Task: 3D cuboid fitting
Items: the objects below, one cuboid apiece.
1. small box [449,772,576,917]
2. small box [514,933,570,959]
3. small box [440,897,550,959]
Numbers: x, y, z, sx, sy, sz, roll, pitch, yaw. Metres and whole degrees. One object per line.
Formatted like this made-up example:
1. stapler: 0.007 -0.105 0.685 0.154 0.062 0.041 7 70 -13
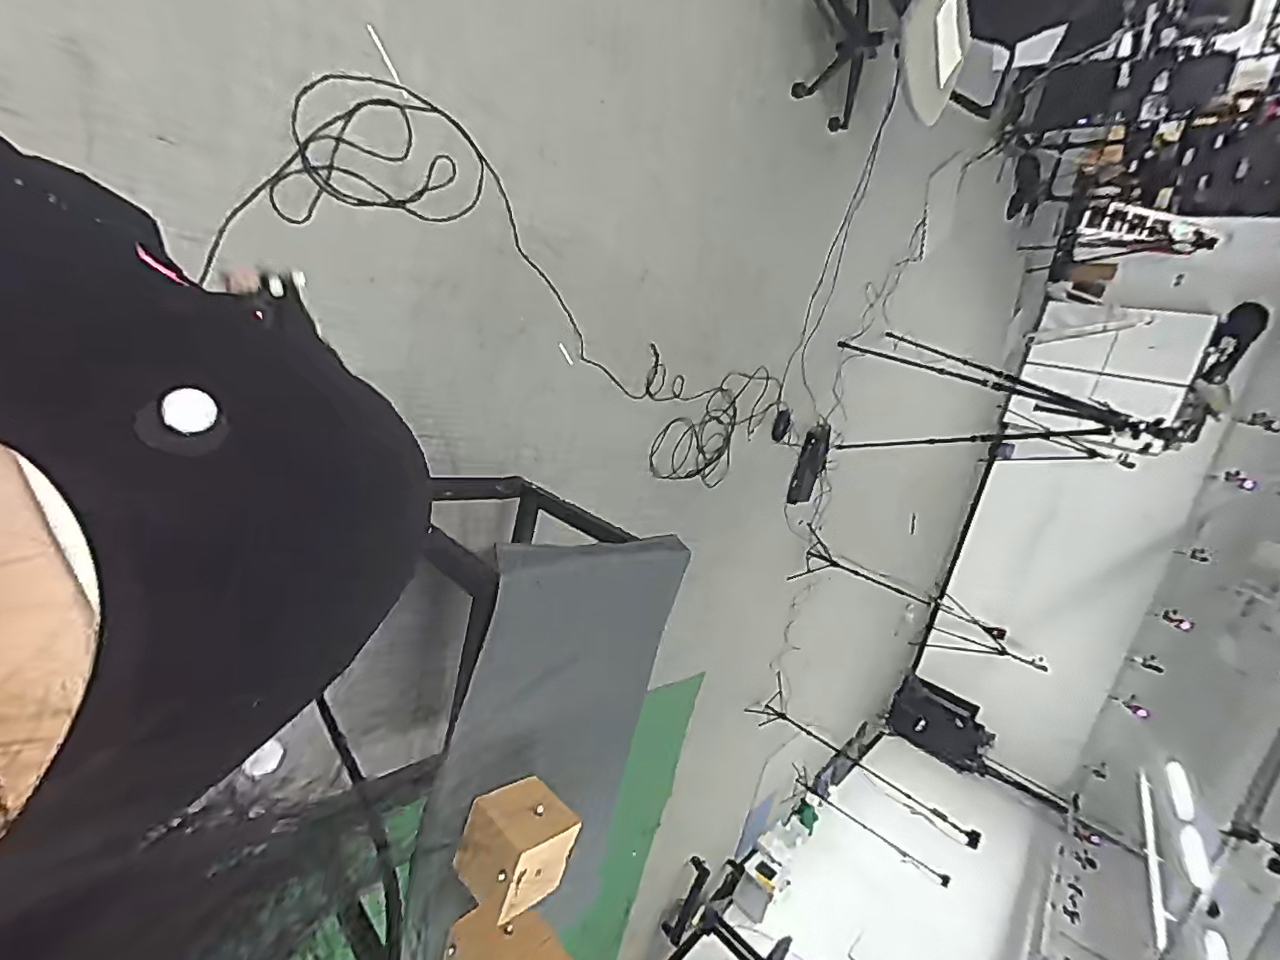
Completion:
1. small box: -0.277 0.773 1.173 0.179 0.176 0.168 14 97 -54
2. small box: -0.222 1.134 1.148 0.179 0.176 0.168 -5 110 -50
3. small box: -0.341 1.087 1.248 0.179 0.176 0.168 0 107 -53
